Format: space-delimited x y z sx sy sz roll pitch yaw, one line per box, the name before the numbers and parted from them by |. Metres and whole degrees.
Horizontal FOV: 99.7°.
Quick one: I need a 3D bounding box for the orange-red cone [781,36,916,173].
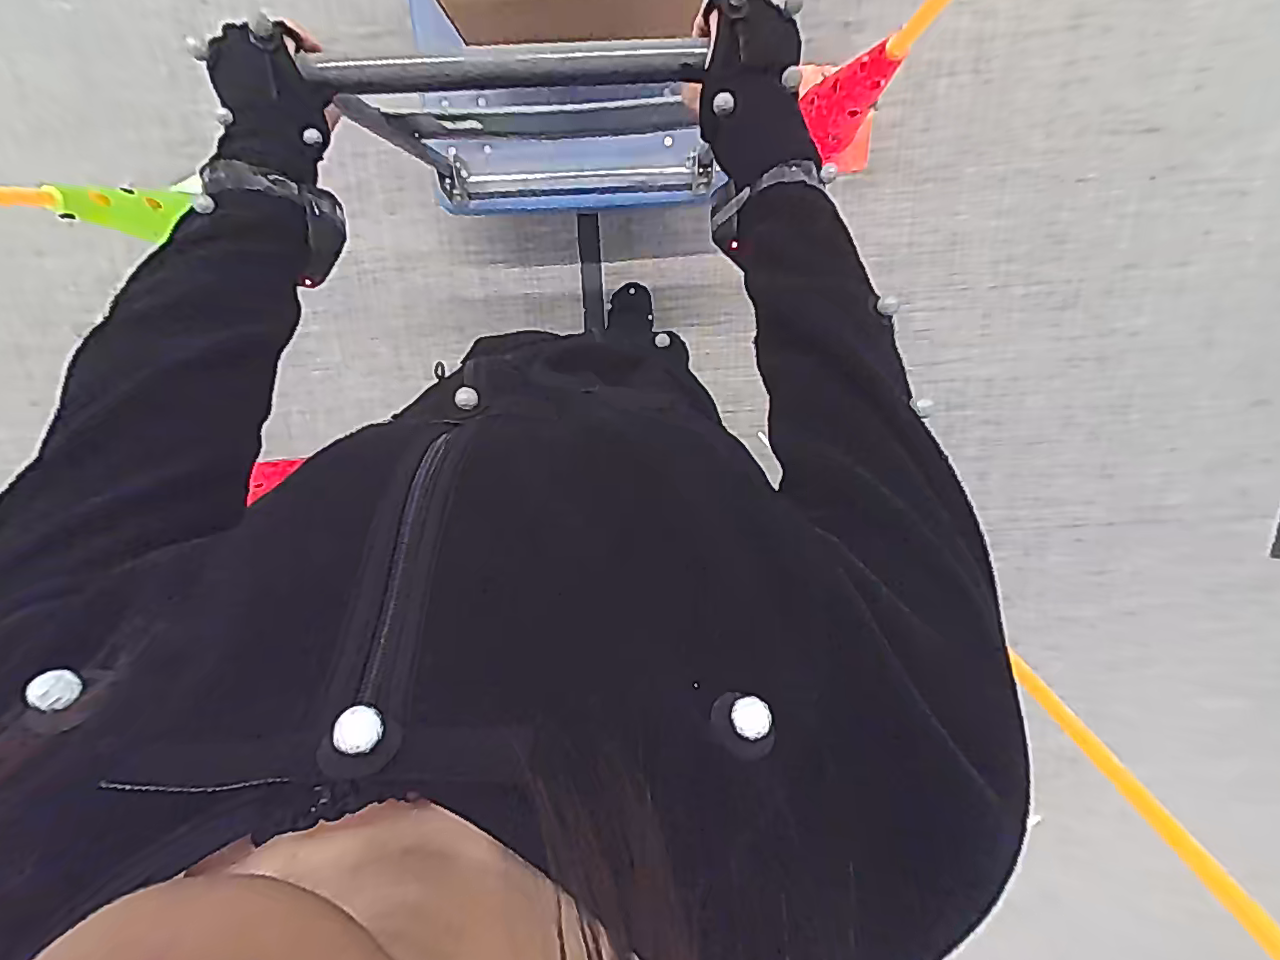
orange-red cone | 0.418 -0.733 1.016 0.199 0.360 0.198 3 108 -2
